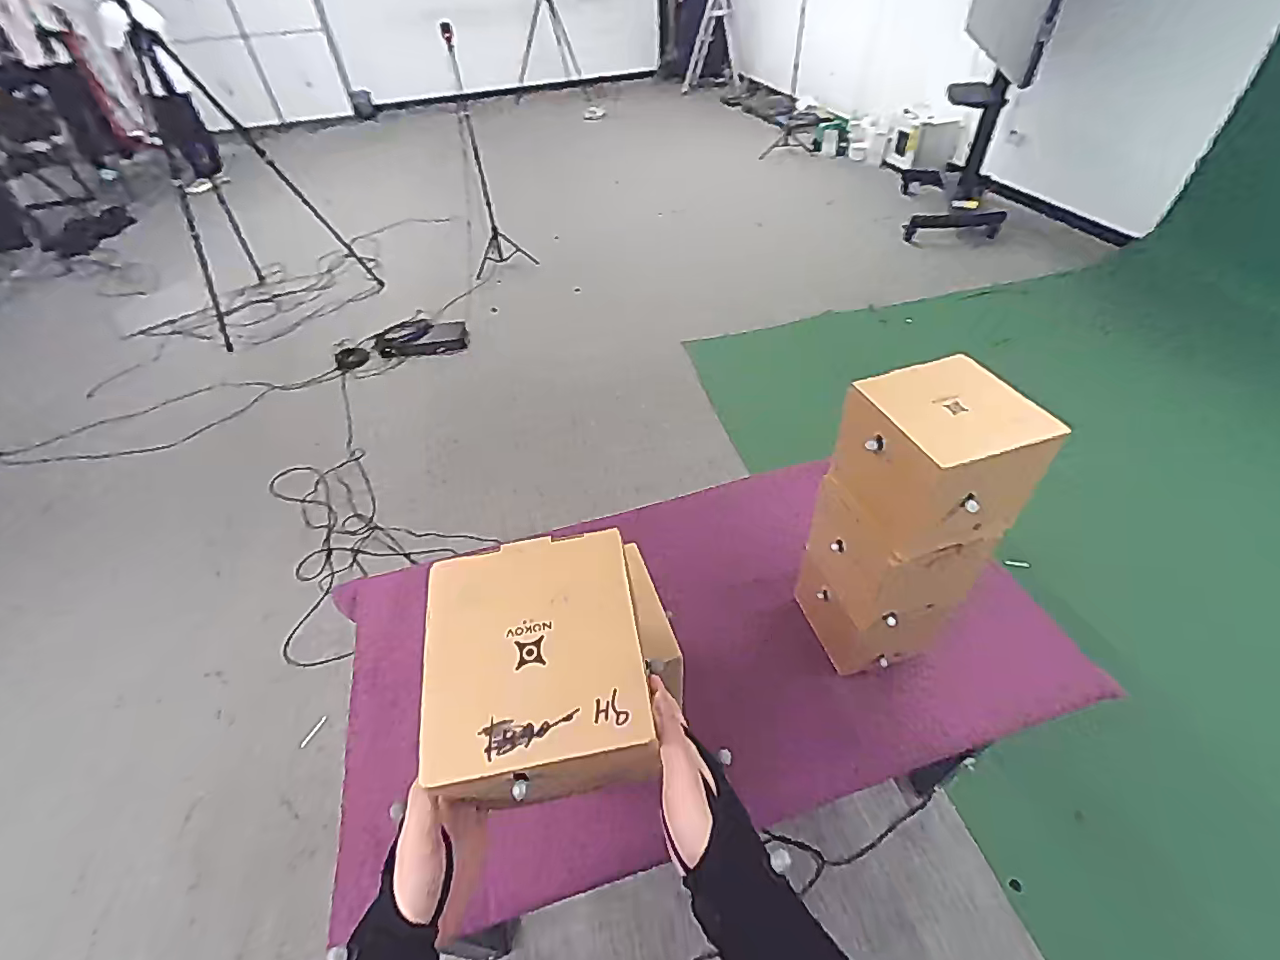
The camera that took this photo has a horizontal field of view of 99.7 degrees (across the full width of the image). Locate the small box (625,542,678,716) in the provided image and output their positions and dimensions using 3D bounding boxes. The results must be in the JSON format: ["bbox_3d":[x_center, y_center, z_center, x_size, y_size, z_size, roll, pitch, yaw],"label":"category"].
[{"bbox_3d":[-0.053,0.216,0.707,0.168,0.176,0.179,-15,47,-11],"label":"small box"}]

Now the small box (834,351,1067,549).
[{"bbox_3d":[0.372,-0.033,0.689,0.168,0.176,0.179,-16,44,-8],"label":"small box"}]

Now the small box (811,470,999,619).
[{"bbox_3d":[0.373,0.085,0.801,0.168,0.176,0.179,-14,44,-7],"label":"small box"}]

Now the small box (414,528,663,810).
[{"bbox_3d":[-0.077,0.169,0.476,0.168,0.176,0.179,-11,54,-1],"label":"small box"}]

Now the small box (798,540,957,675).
[{"bbox_3d":[0.386,0.198,0.919,0.168,0.176,0.179,-14,46,-7],"label":"small box"}]
